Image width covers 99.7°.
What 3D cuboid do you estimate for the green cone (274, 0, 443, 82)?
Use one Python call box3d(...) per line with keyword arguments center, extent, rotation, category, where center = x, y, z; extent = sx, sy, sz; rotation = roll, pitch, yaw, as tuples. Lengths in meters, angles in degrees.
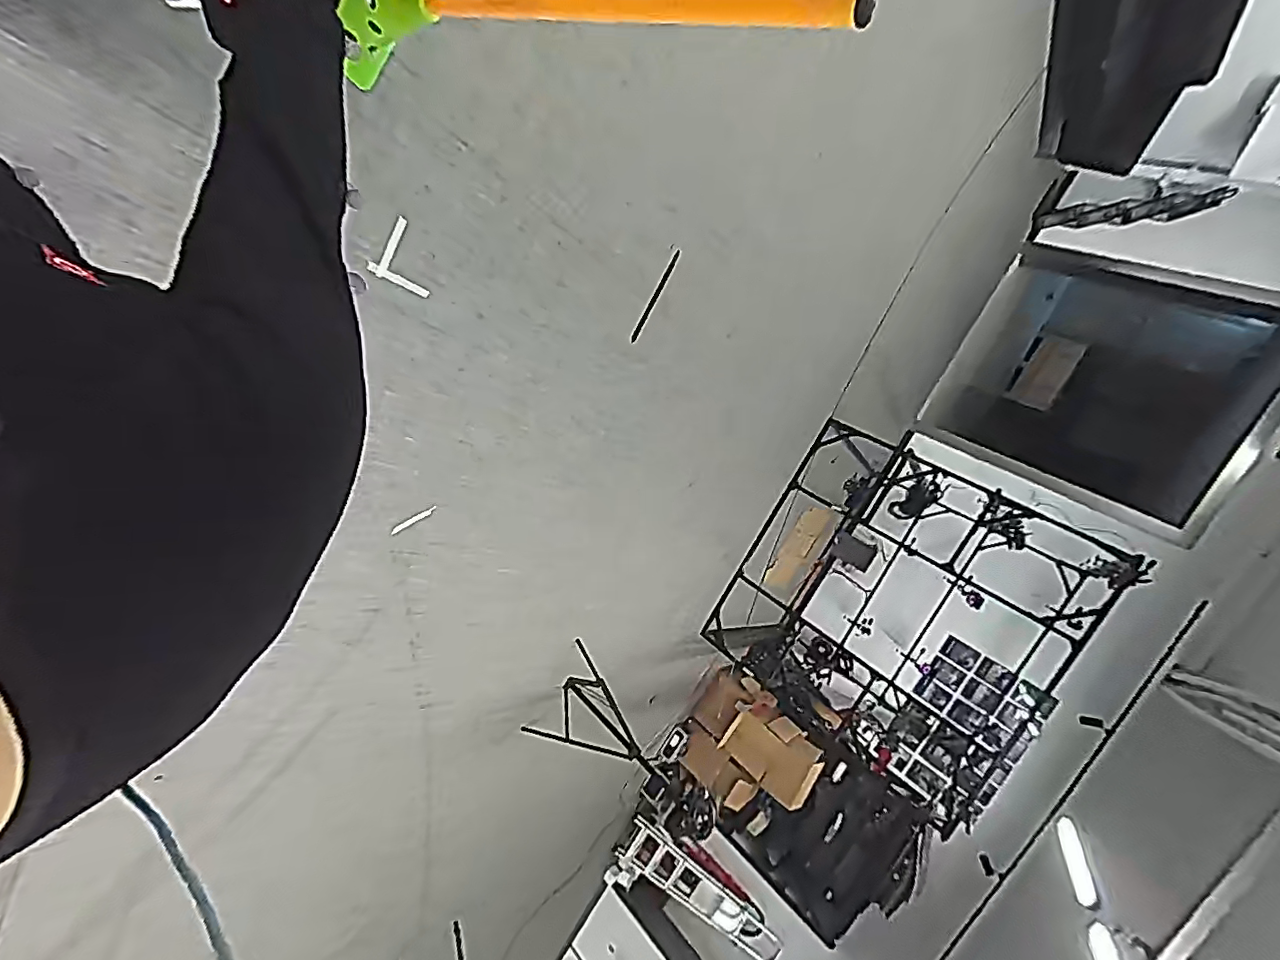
box3d(center=(-0.480, -0.884, 1.001), extent=(0.200, 0.368, 0.202), rotation=(-58, 149, 3), category="green cone")
